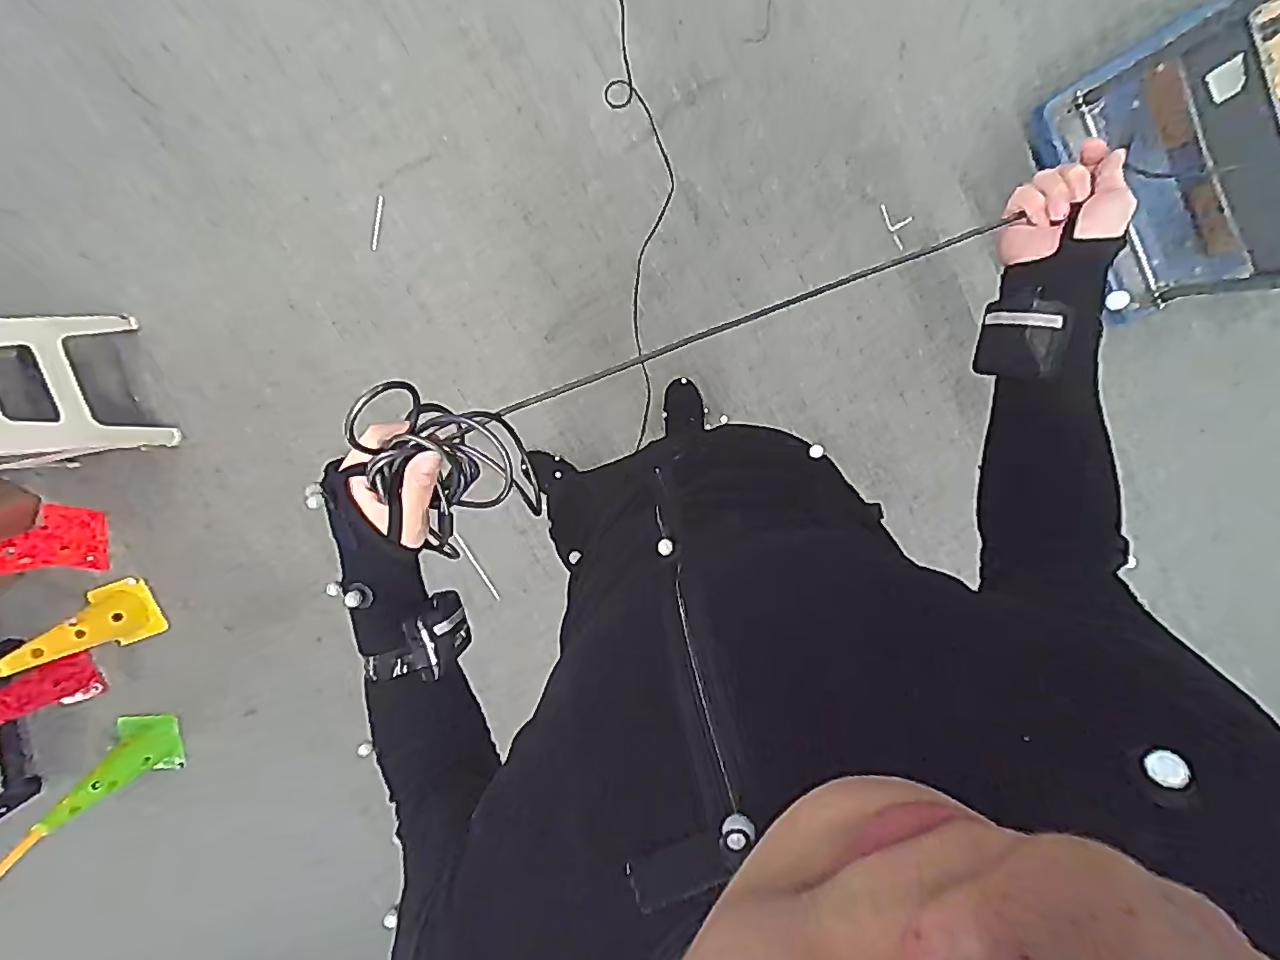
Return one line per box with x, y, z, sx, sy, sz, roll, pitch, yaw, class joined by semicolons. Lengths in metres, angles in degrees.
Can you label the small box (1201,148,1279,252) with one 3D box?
1.402;-0.625;1.172;0.179;0.176;0.168;-29;99;8;small box
